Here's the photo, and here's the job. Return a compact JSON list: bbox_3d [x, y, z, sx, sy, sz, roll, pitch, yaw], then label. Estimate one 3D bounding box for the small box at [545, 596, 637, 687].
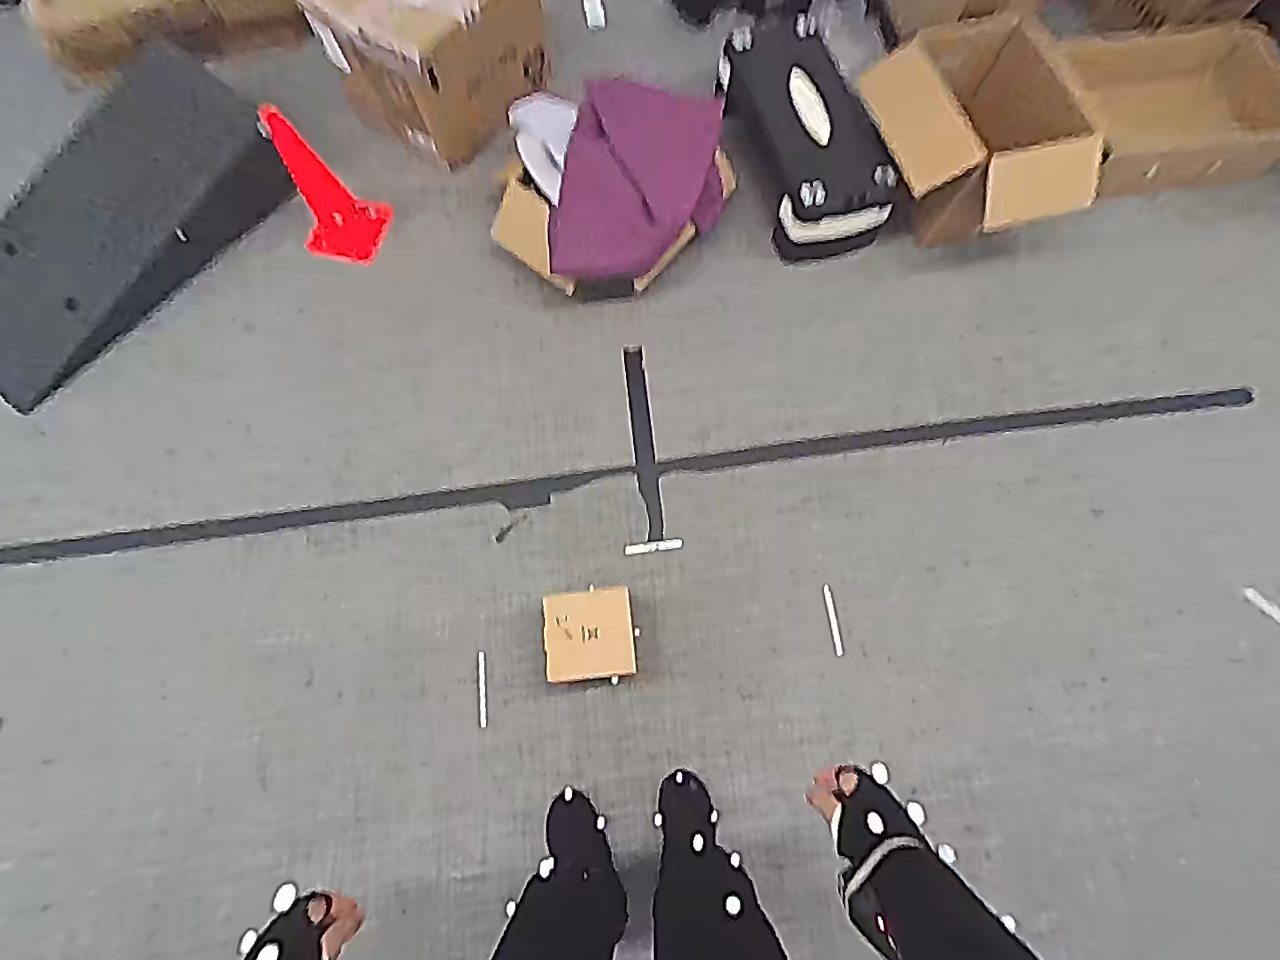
[{"bbox_3d":[-0.101,0.342,1.153,0.179,0.176,0.168,-6,72,-2],"label":"small box"}]
